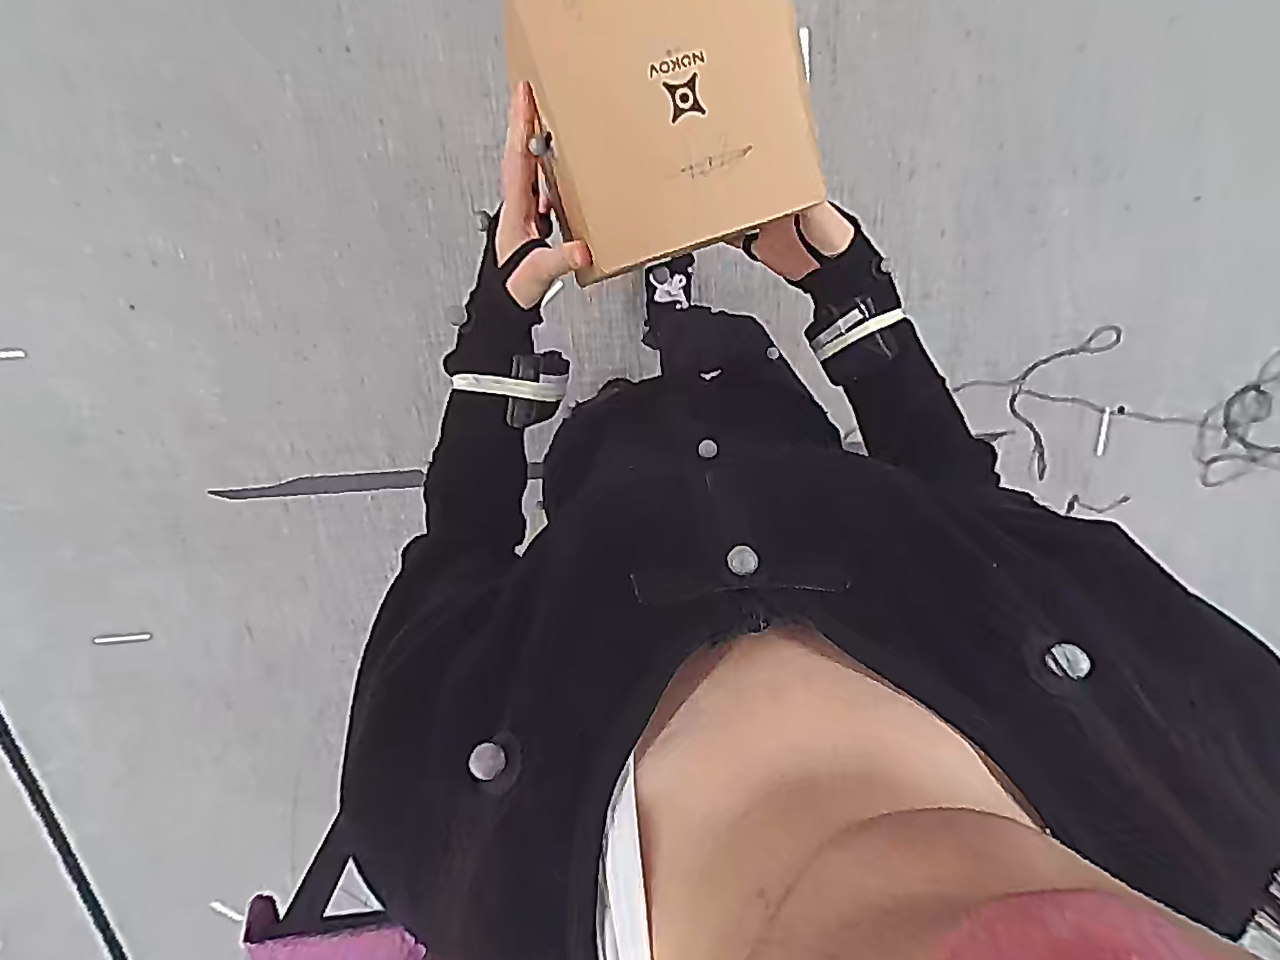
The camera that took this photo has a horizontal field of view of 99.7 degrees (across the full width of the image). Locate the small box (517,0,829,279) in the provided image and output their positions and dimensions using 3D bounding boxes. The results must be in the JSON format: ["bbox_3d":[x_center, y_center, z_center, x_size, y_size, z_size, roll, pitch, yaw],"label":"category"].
[{"bbox_3d":[0.011,-0.266,0.406,0.168,0.176,0.179,-20,109,-5],"label":"small box"}]
